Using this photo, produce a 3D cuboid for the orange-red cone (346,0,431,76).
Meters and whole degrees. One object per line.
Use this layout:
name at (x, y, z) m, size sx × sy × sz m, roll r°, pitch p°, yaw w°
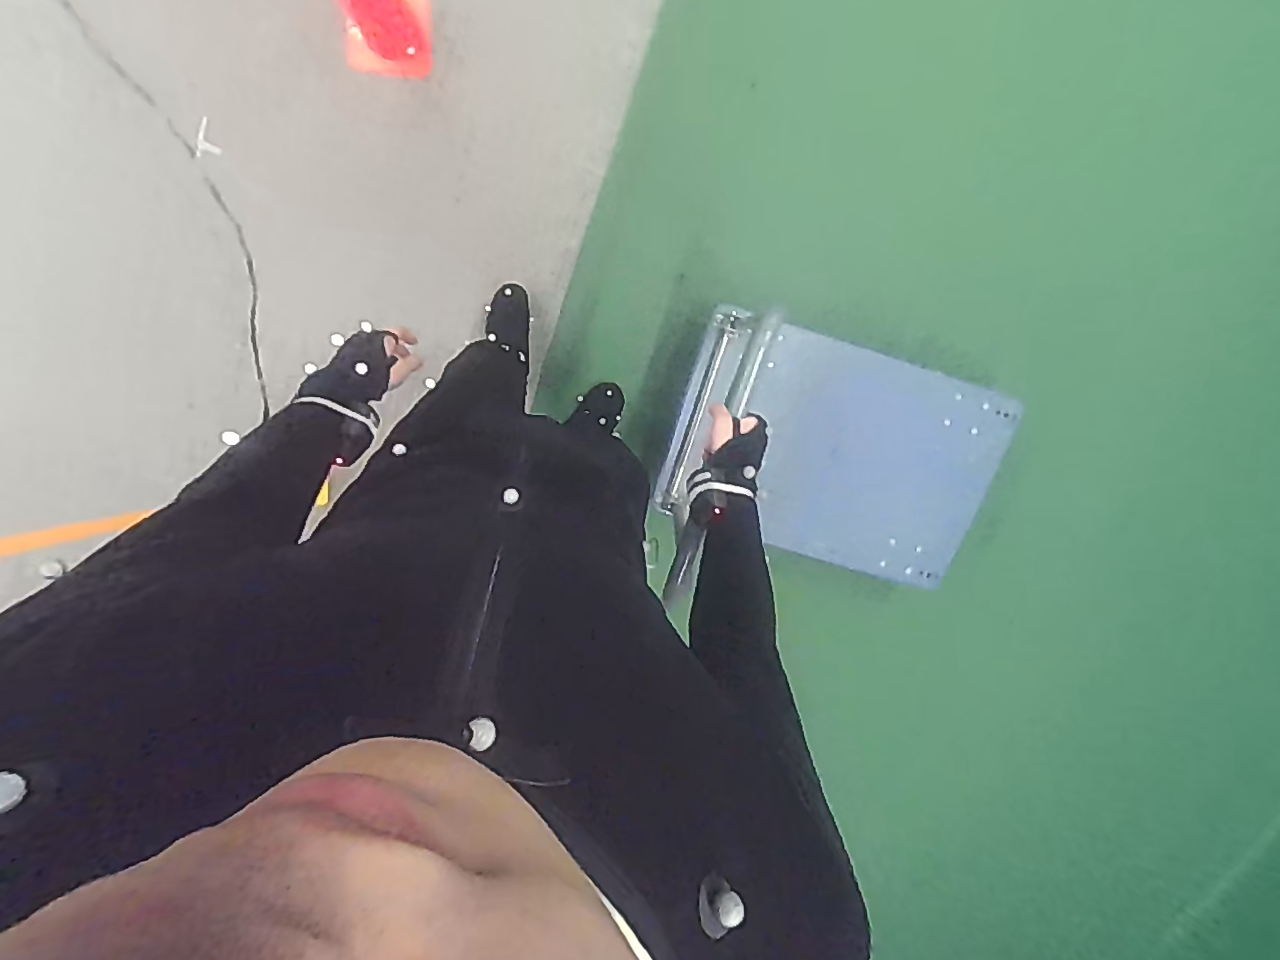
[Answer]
orange-red cone at (-0.603, -1.065, 1.146) m, size 0.198 × 0.360 × 0.199 m, roll 6°, pitch 104°, yaw -3°
